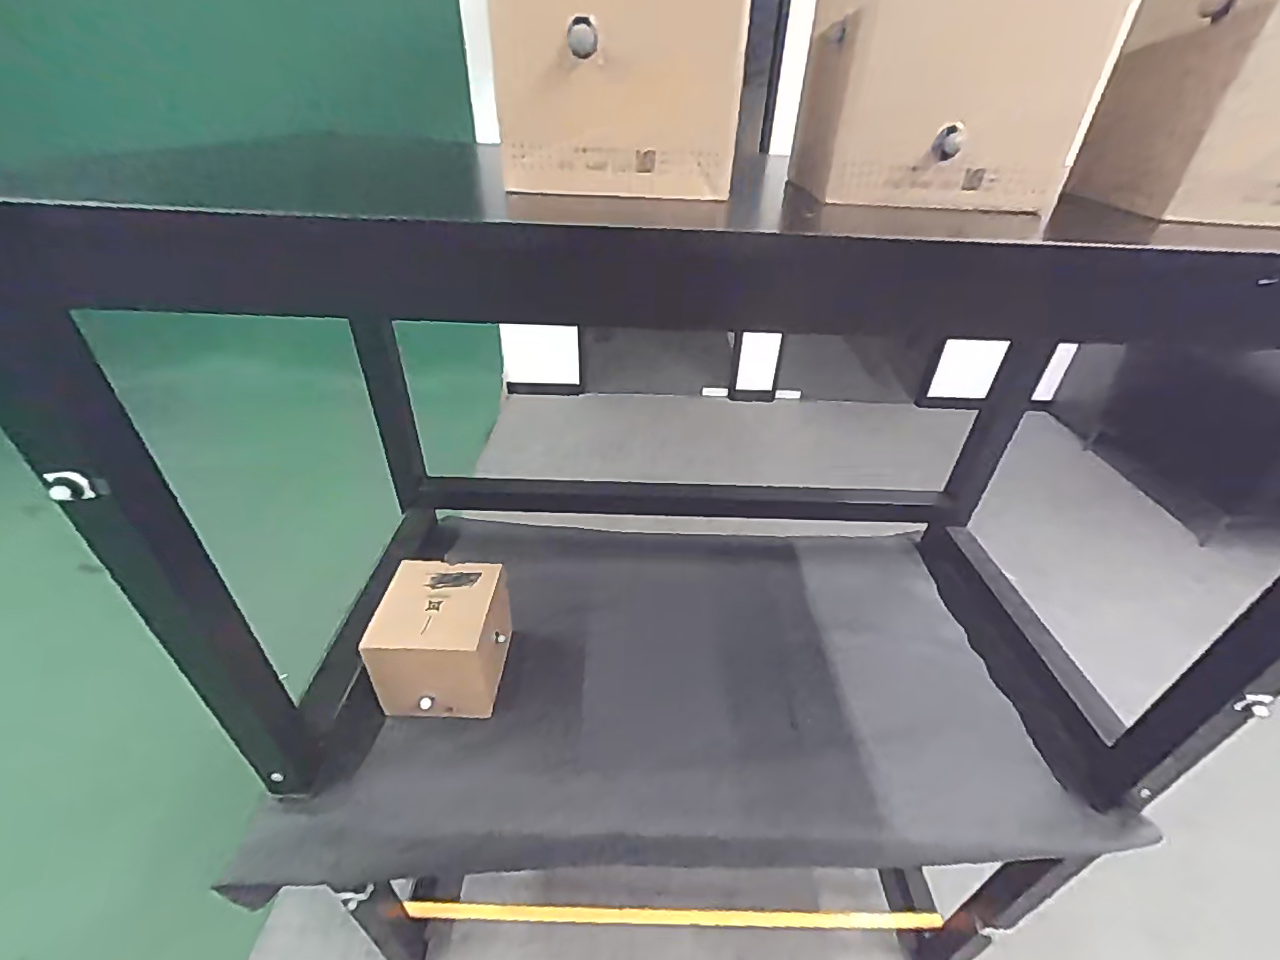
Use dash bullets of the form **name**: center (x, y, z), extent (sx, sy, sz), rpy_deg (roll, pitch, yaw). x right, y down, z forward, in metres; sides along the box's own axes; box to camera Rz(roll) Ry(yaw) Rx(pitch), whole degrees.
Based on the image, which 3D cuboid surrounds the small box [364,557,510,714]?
- **small box**: center (-0.310, 0.246, 0.870), extent (0.168, 0.176, 0.179), rpy_deg (2, 35, -1)

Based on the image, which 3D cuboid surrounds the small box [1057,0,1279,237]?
- **small box**: center (0.473, -0.289, 0.412), extent (0.168, 0.176, 0.179), rpy_deg (9, 35, 8)

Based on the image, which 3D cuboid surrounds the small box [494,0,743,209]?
- **small box**: center (-0.012, -0.322, 0.434), extent (0.168, 0.176, 0.179), rpy_deg (2, 34, -1)
